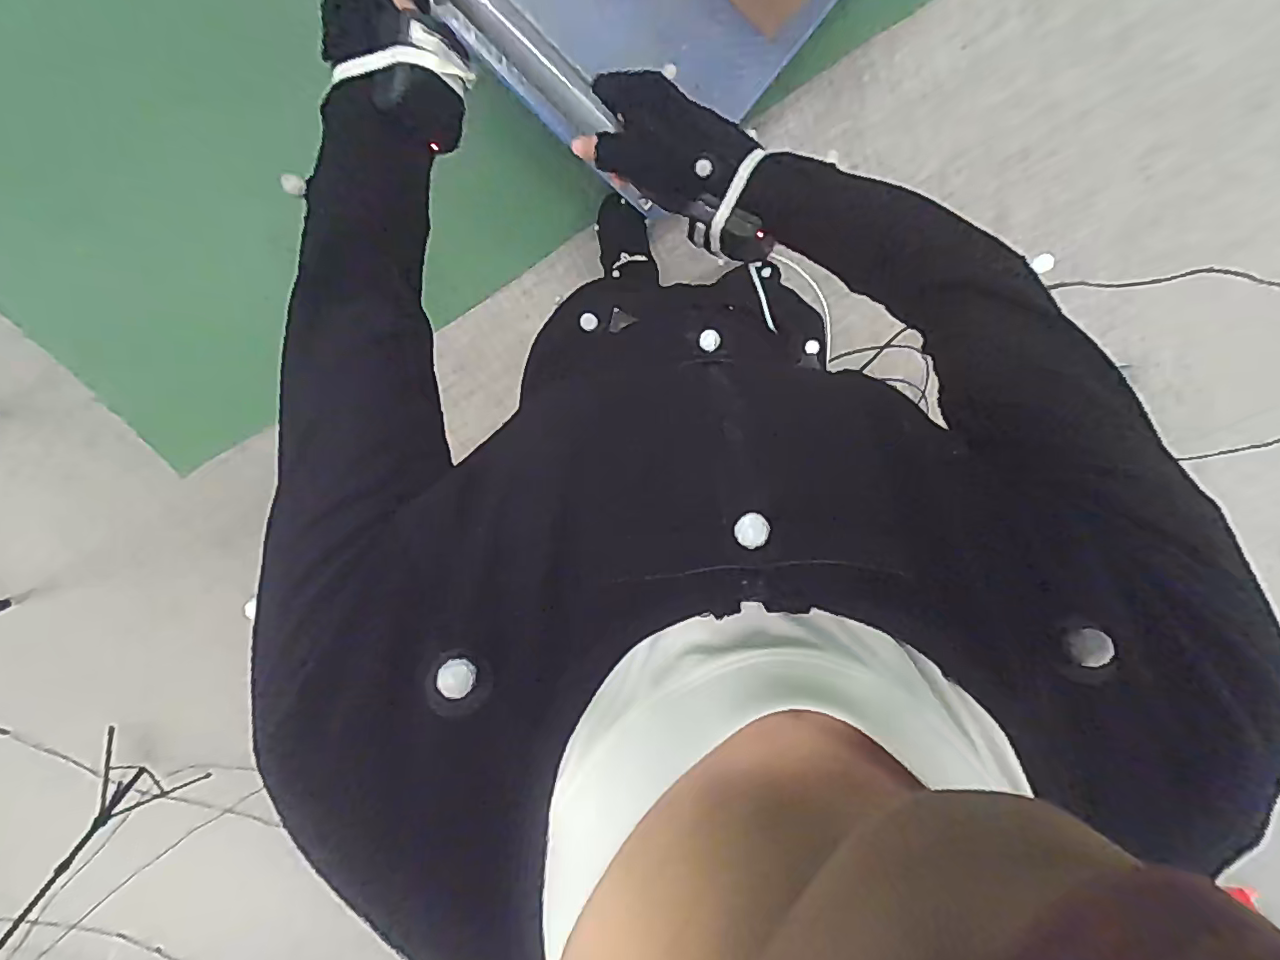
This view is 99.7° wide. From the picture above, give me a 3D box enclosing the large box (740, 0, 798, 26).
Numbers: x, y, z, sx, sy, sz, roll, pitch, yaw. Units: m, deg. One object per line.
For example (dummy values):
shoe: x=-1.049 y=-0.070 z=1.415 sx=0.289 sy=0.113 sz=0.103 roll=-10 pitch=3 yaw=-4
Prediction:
large box: x=0.160 y=-0.919 z=0.701 sx=0.408 sy=0.320 sz=0.320 roll=36 pitch=115 yaw=-18
